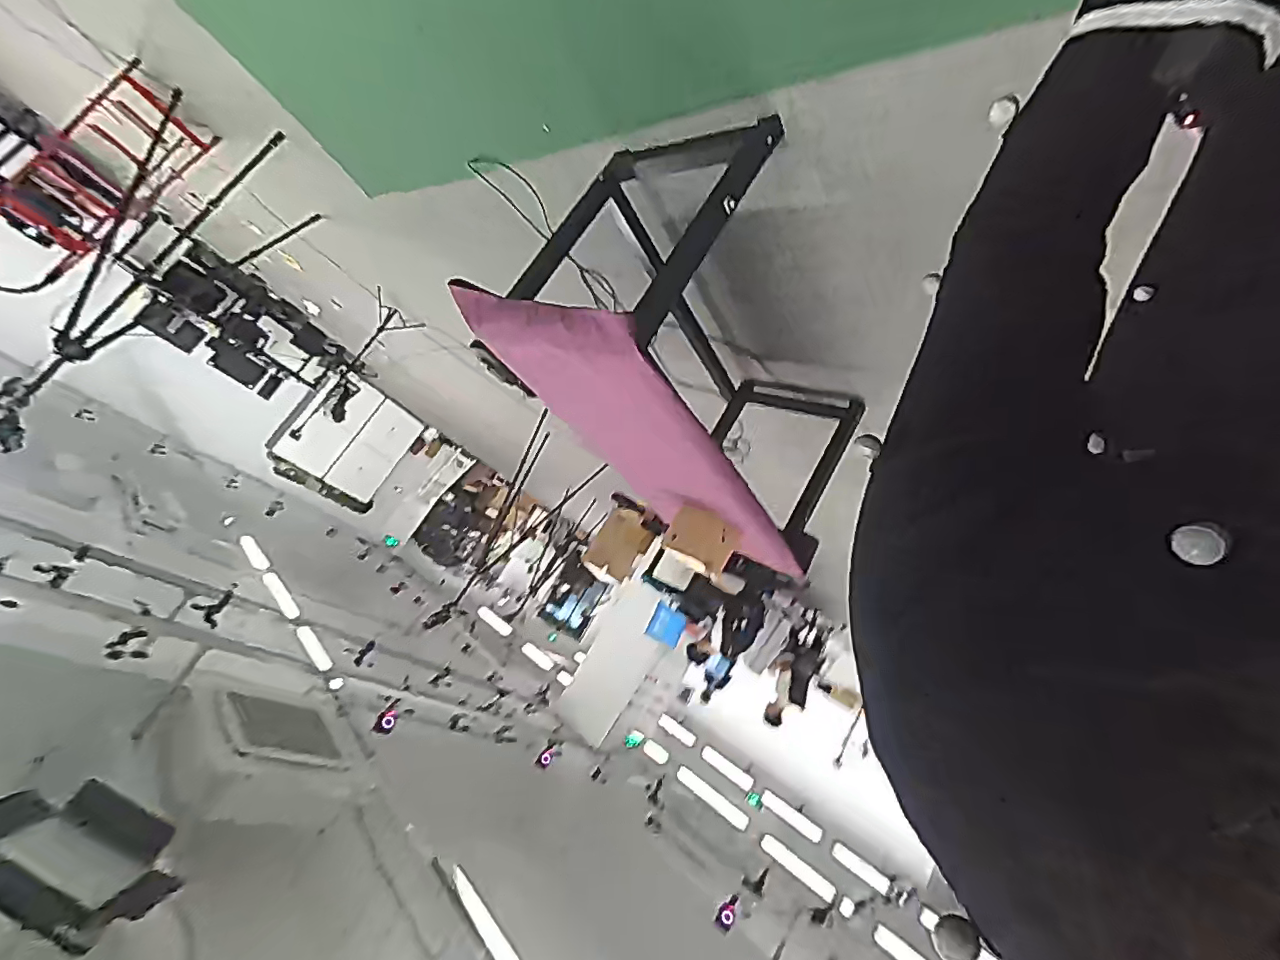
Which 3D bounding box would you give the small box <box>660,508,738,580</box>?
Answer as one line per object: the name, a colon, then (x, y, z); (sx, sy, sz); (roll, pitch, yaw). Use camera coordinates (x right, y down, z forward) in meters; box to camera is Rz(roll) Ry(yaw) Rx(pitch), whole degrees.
small box: (0.210, 0.219, 1.902); (0.179, 0.176, 0.168); (18, 160, 48)
